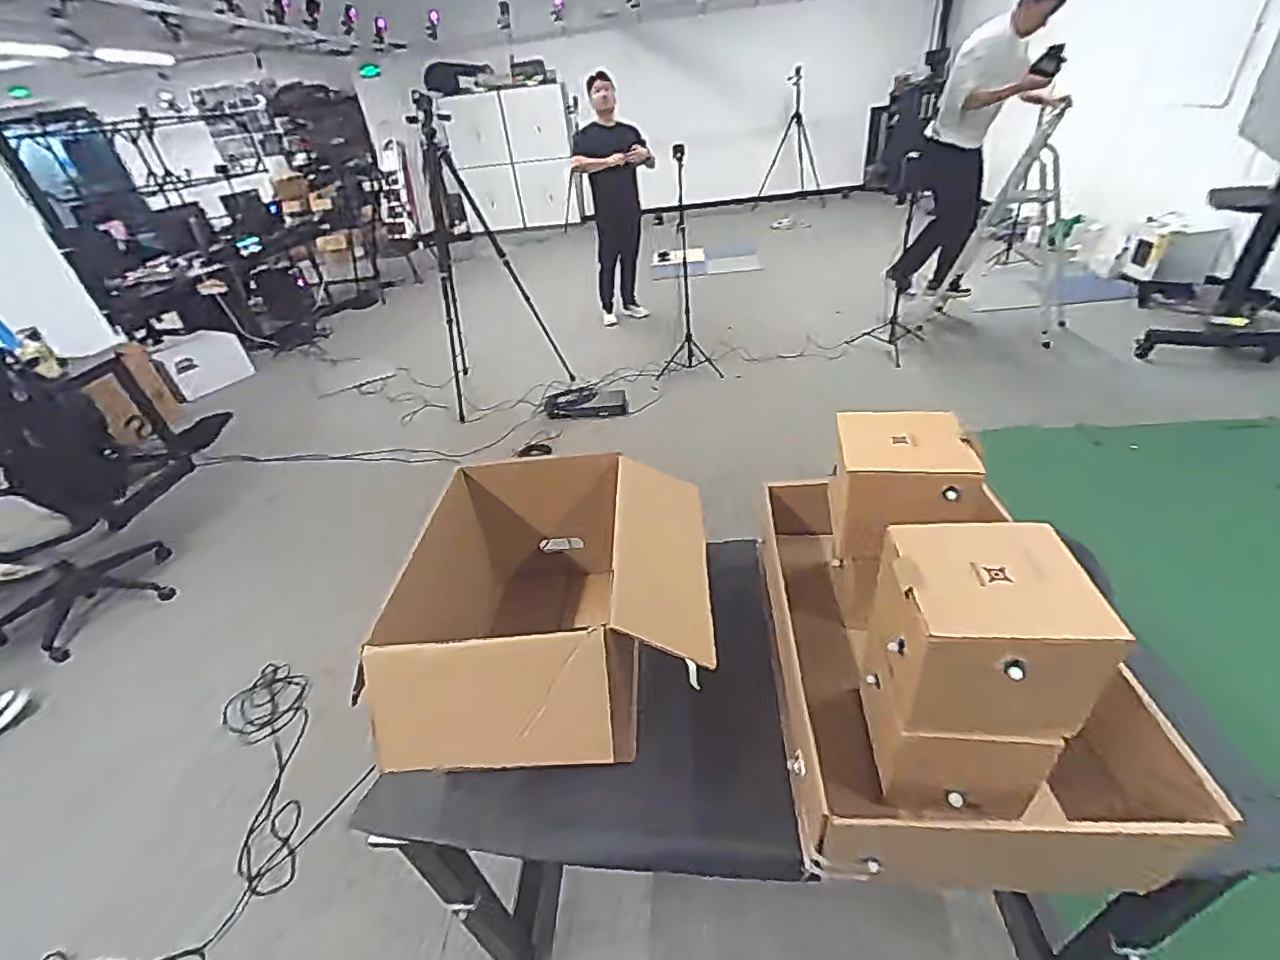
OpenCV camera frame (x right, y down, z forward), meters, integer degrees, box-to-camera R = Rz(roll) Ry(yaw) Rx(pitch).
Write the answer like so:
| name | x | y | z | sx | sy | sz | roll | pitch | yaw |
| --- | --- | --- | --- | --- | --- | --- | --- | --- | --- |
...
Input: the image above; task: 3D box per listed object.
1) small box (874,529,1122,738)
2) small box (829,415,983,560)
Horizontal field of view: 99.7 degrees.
| name | x | y | z | sx | sy | sz | roll | pitch | yaw |
| --- | --- | --- | --- | --- | --- | --- | --- | --- | --- |
| small box | 0.378 | 0.172 | 0.618 | 0.179 | 0.176 | 0.168 | -1 | 37 | 9 |
| small box | 0.392 | 0.014 | 0.837 | 0.179 | 0.176 | 0.168 | 2 | 37 | 12 |
